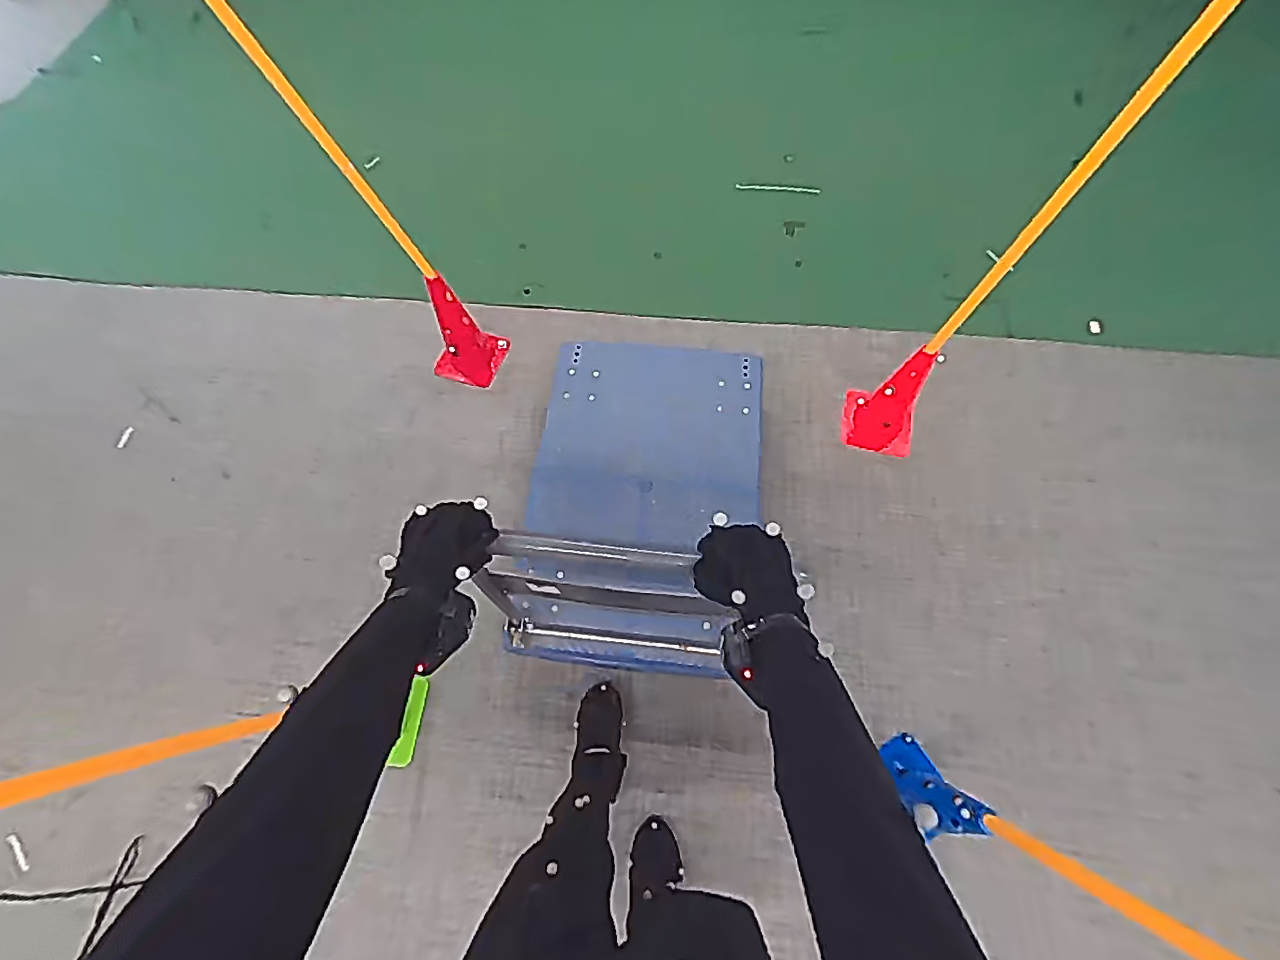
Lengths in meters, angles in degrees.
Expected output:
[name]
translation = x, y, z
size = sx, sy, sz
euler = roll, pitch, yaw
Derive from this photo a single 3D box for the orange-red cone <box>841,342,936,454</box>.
[orange-red cone]
translation = 0.705, -0.247, 1.462
size = 0.198, 0.360, 0.199
euler = 15, 68, 9
